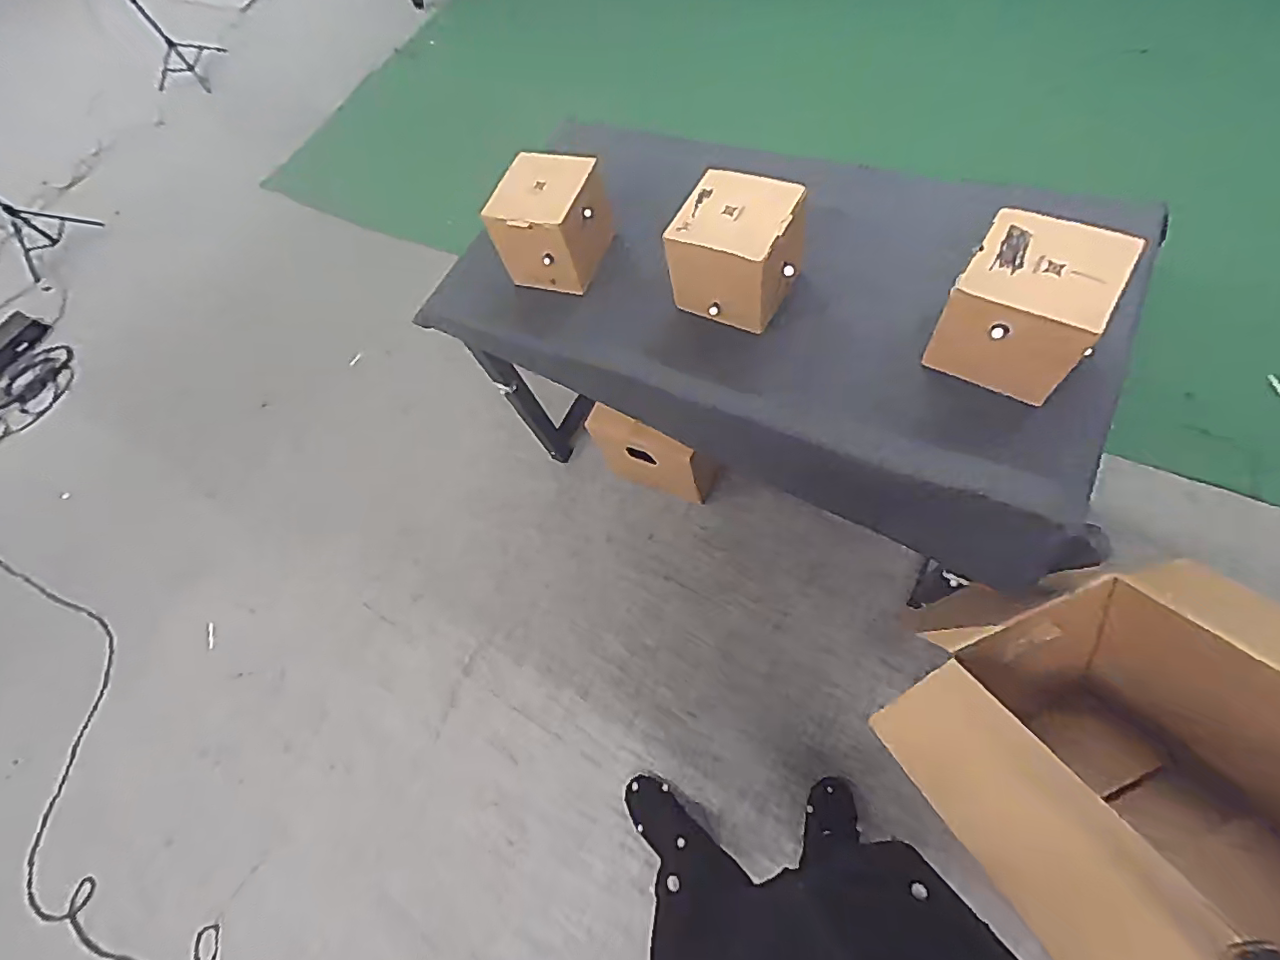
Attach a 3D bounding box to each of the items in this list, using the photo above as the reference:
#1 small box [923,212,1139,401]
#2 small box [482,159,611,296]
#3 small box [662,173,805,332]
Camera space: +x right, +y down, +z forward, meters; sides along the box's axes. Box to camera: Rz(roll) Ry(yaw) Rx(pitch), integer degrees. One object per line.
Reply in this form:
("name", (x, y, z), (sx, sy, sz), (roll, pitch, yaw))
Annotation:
("small box", (0.540, -0.240, 0.775), (0.179, 0.176, 0.168), (29, 75, 23))
("small box", (-0.170, -0.487, 1.052), (0.168, 0.176, 0.179), (15, 67, 17))
("small box", (0.162, -0.382, 0.929), (0.179, 0.176, 0.168), (25, 73, 21))
